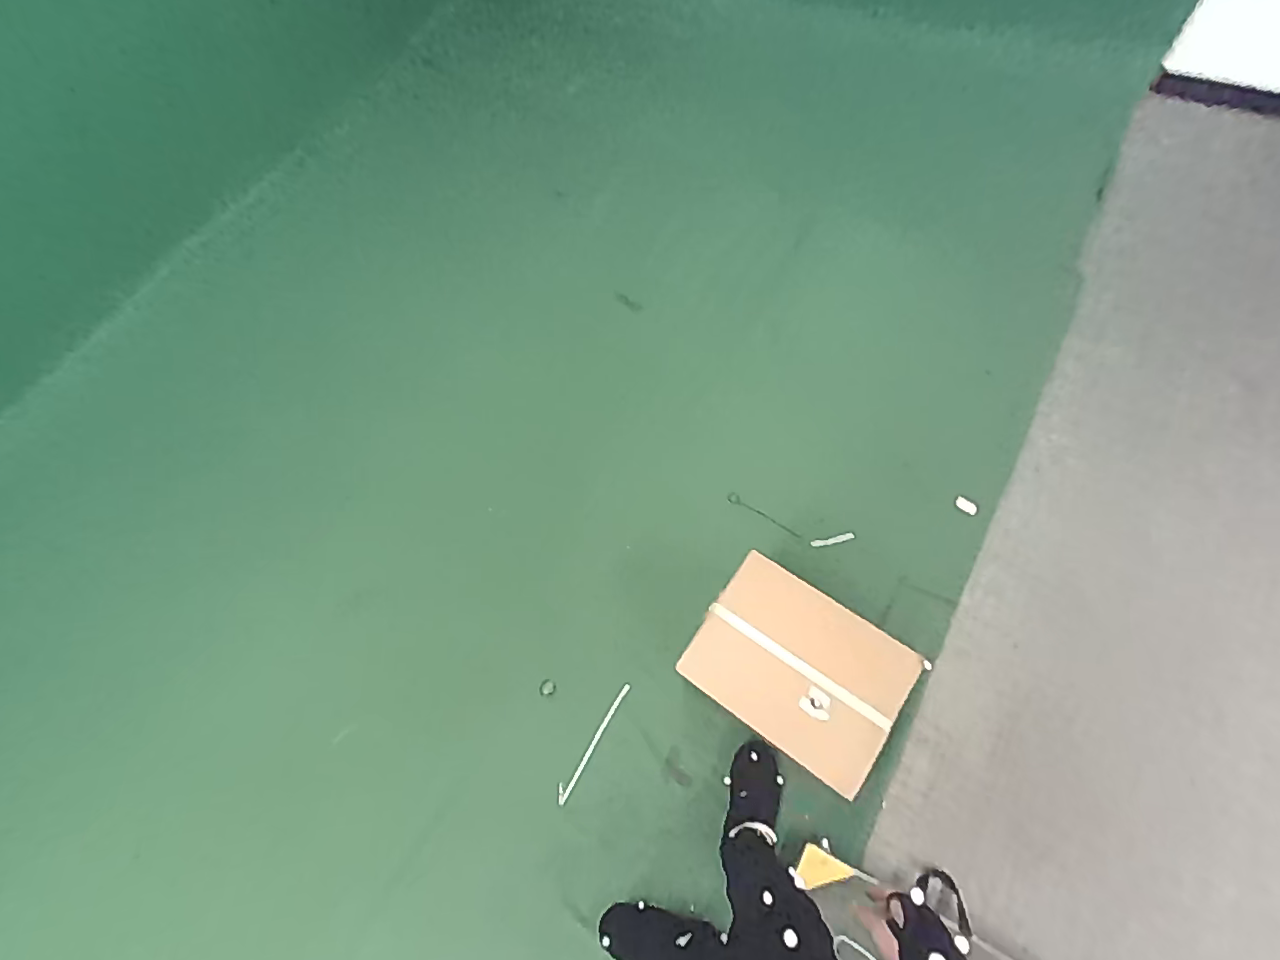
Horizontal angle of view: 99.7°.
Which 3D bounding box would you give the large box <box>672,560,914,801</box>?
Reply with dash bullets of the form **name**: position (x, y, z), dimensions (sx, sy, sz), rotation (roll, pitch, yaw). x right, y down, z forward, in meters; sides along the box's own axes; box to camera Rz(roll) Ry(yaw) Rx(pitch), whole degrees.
- **large box**: position (0.321, 0.447, 1.245), dimensions (0.408, 0.320, 0.320), rotation (32, 74, 17)
